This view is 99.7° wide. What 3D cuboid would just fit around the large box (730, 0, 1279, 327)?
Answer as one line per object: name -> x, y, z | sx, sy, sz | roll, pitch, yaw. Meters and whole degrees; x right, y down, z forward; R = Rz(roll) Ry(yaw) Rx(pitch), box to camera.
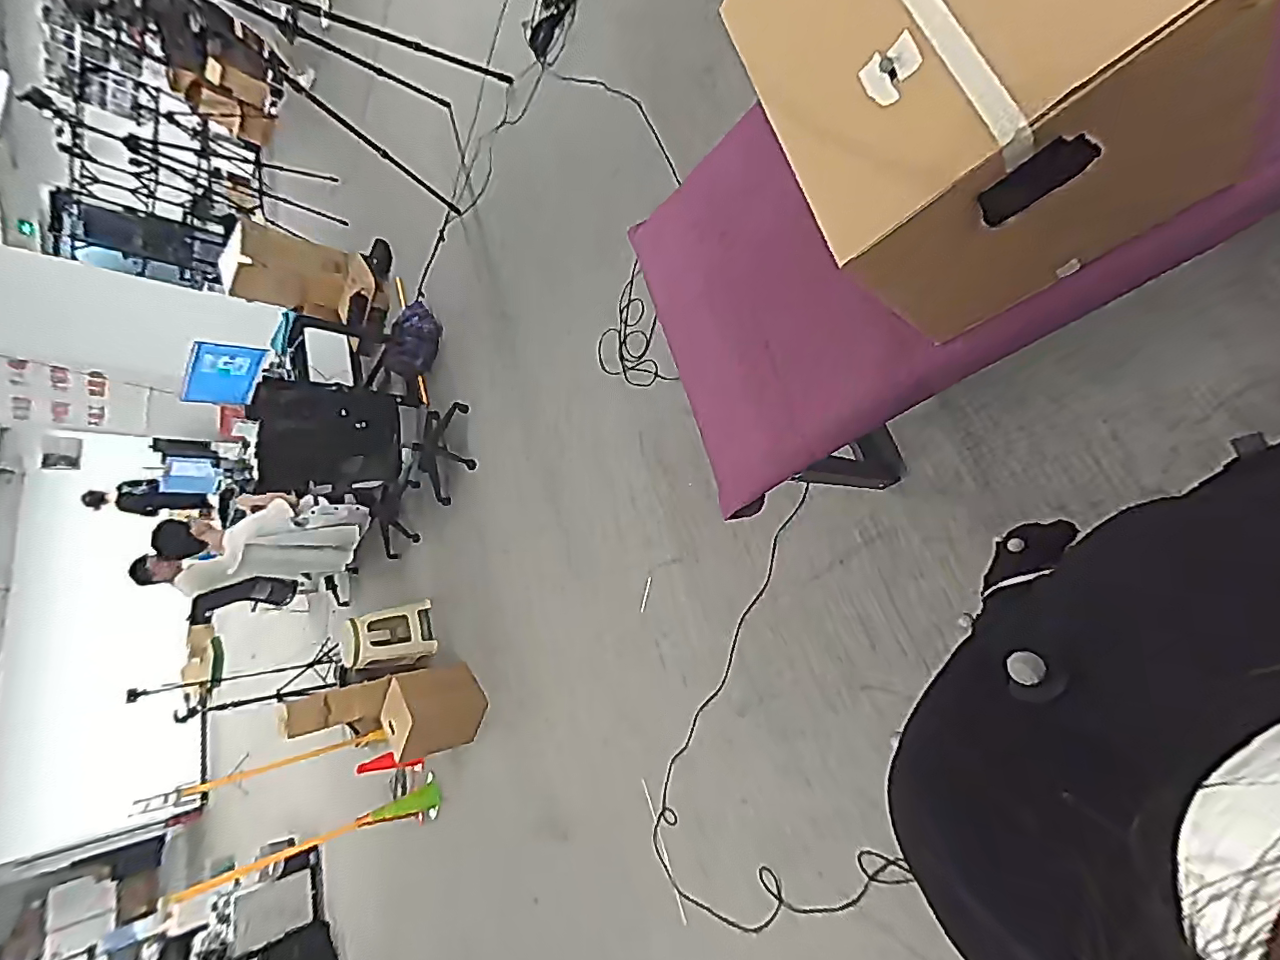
large box -> 0.364, -0.453, 0.603 | 0.320, 0.320, 0.408 | -31, 66, 39
